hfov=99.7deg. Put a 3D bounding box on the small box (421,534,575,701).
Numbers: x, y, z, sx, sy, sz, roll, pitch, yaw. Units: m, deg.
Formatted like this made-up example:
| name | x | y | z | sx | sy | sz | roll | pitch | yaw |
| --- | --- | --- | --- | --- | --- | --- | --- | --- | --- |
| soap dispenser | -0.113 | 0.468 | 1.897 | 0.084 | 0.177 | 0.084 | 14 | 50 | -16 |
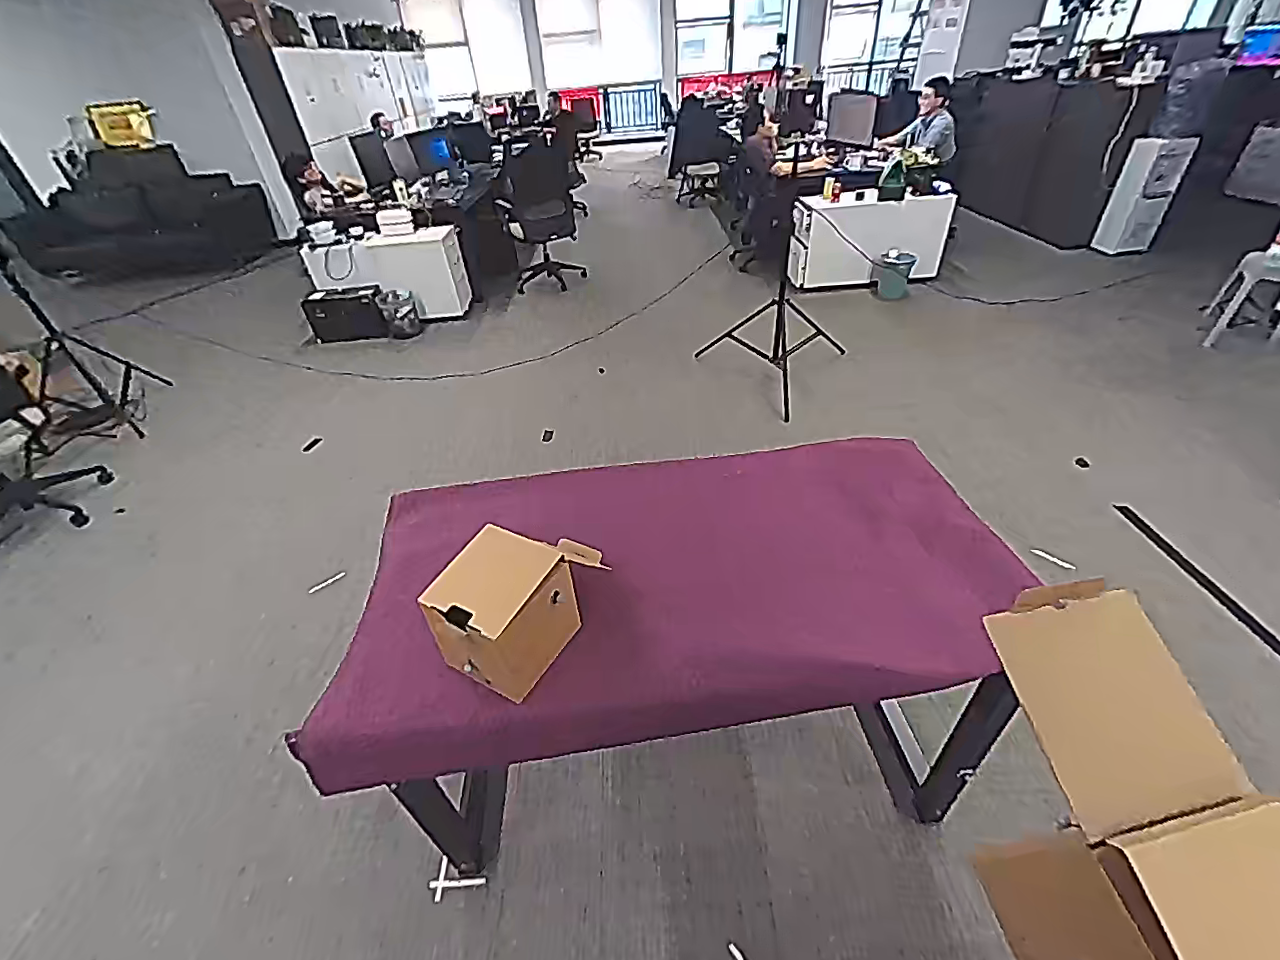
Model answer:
| name | x | y | z | sx | sy | sz | roll | pitch | yaw |
| --- | --- | --- | --- | --- | --- | --- | --- | --- | --- |
| small box | -0.223 | 0.226 | 0.902 | 0.168 | 0.176 | 0.179 | 16 | 42 | 26 |
